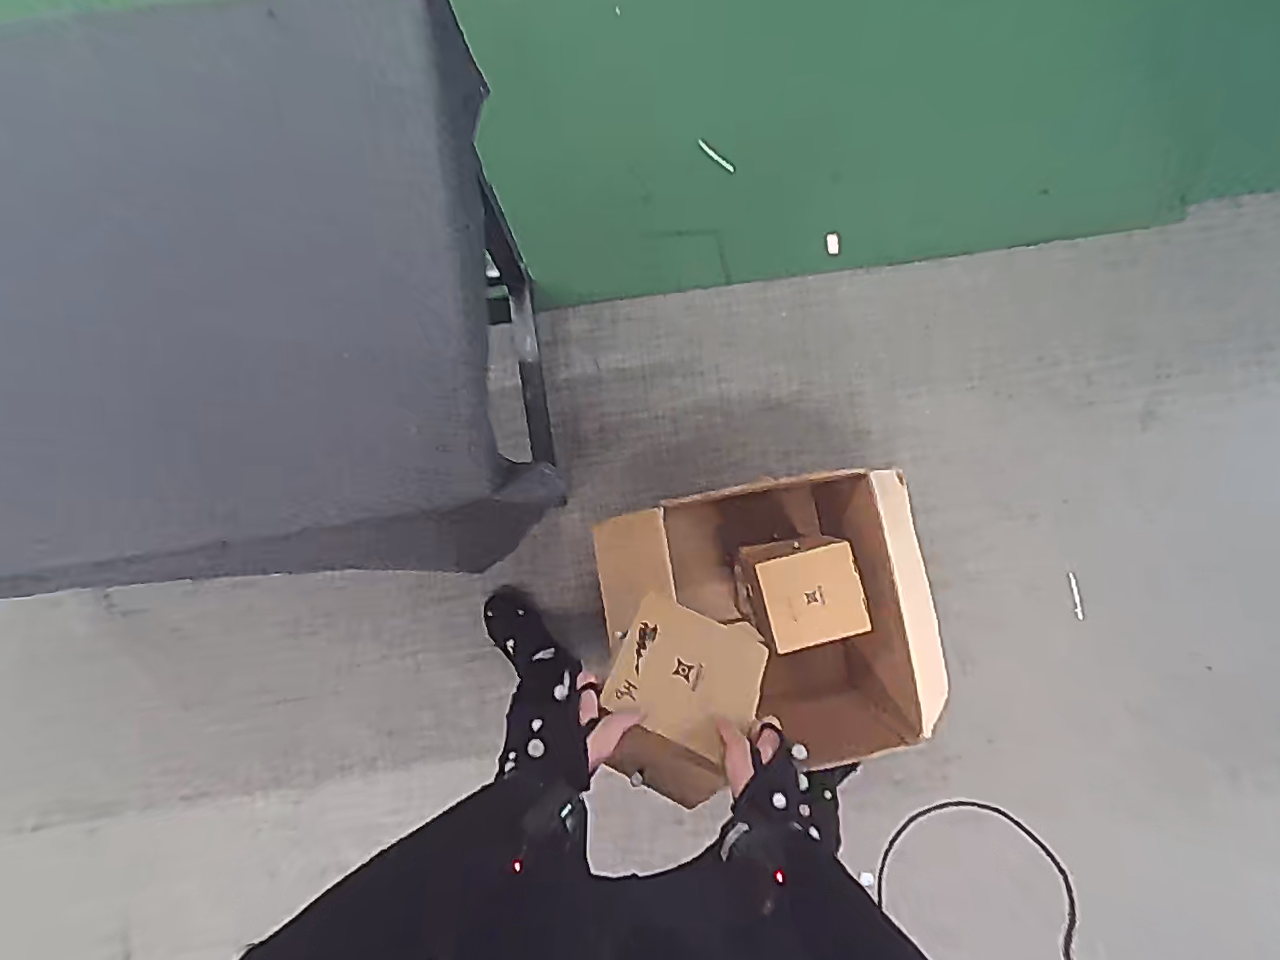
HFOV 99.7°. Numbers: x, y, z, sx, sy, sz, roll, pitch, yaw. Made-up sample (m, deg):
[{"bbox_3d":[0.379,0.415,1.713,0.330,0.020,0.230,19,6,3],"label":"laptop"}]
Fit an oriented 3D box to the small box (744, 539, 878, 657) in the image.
[{"bbox_3d":[0.313,0.213,1.021,0.179,0.176,0.168,-14,88,-1],"label":"small box"}]
